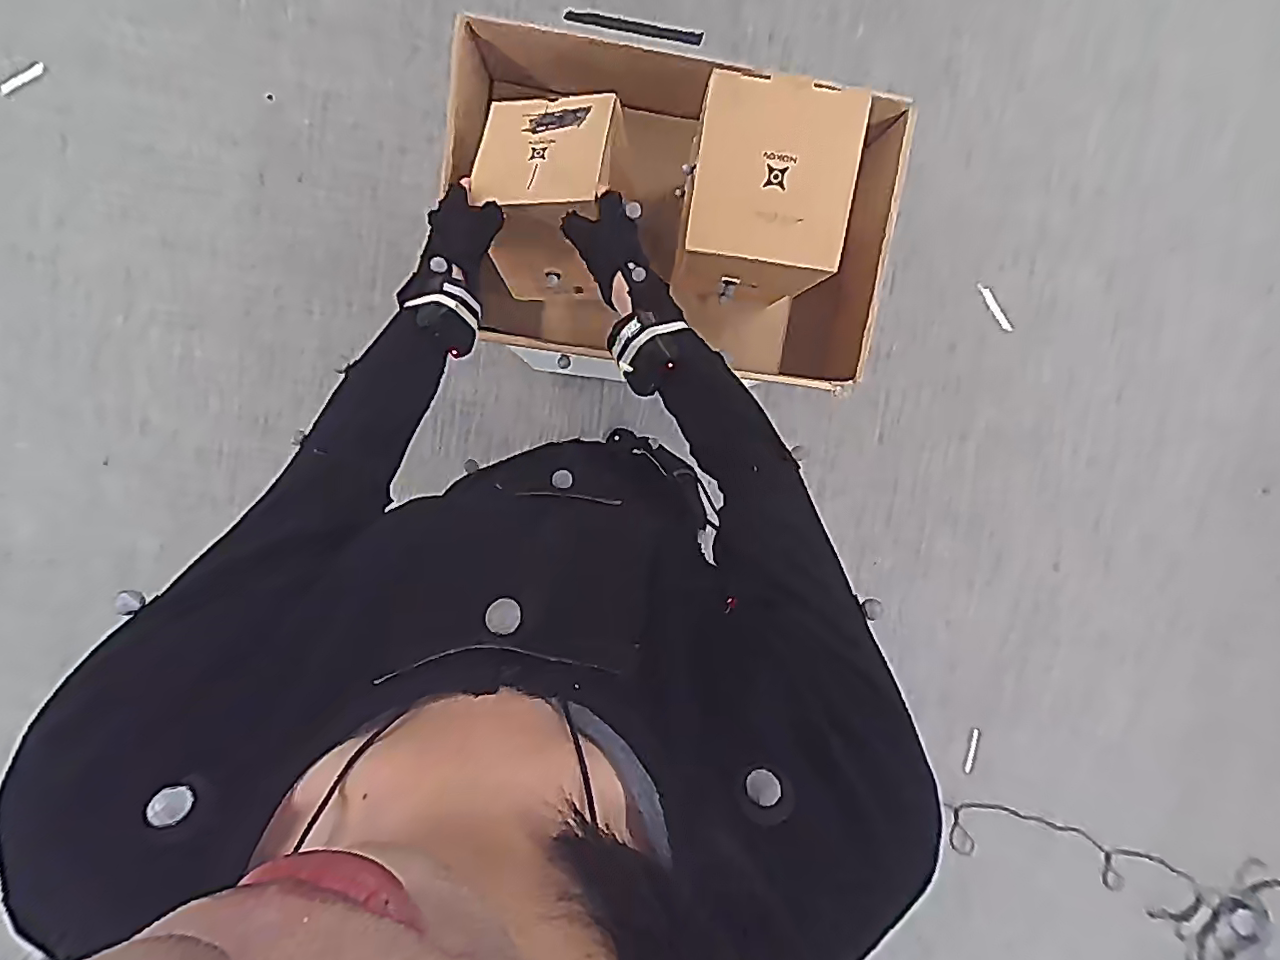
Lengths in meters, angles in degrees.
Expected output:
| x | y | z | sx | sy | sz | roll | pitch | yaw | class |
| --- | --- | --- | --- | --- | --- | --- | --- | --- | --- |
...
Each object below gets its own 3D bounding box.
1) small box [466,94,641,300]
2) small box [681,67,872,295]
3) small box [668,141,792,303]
| x | y | z | sx | sy | sz | roll | pitch | yaw | class |
| --- | --- | --- | --- | --- | --- | --- | --- | --- | --- |
| -0.099 | -0.363 | 0.715 | 0.168 | 0.176 | 0.179 | 2 | 68 | 13 | small box |
| 0.142 | -0.330 | 0.633 | 0.168 | 0.176 | 0.179 | 8 | 100 | 0 | small box |
| 0.143 | -0.363 | 0.794 | 0.179 | 0.176 | 0.168 | 8 | 99 | -2 | small box |
